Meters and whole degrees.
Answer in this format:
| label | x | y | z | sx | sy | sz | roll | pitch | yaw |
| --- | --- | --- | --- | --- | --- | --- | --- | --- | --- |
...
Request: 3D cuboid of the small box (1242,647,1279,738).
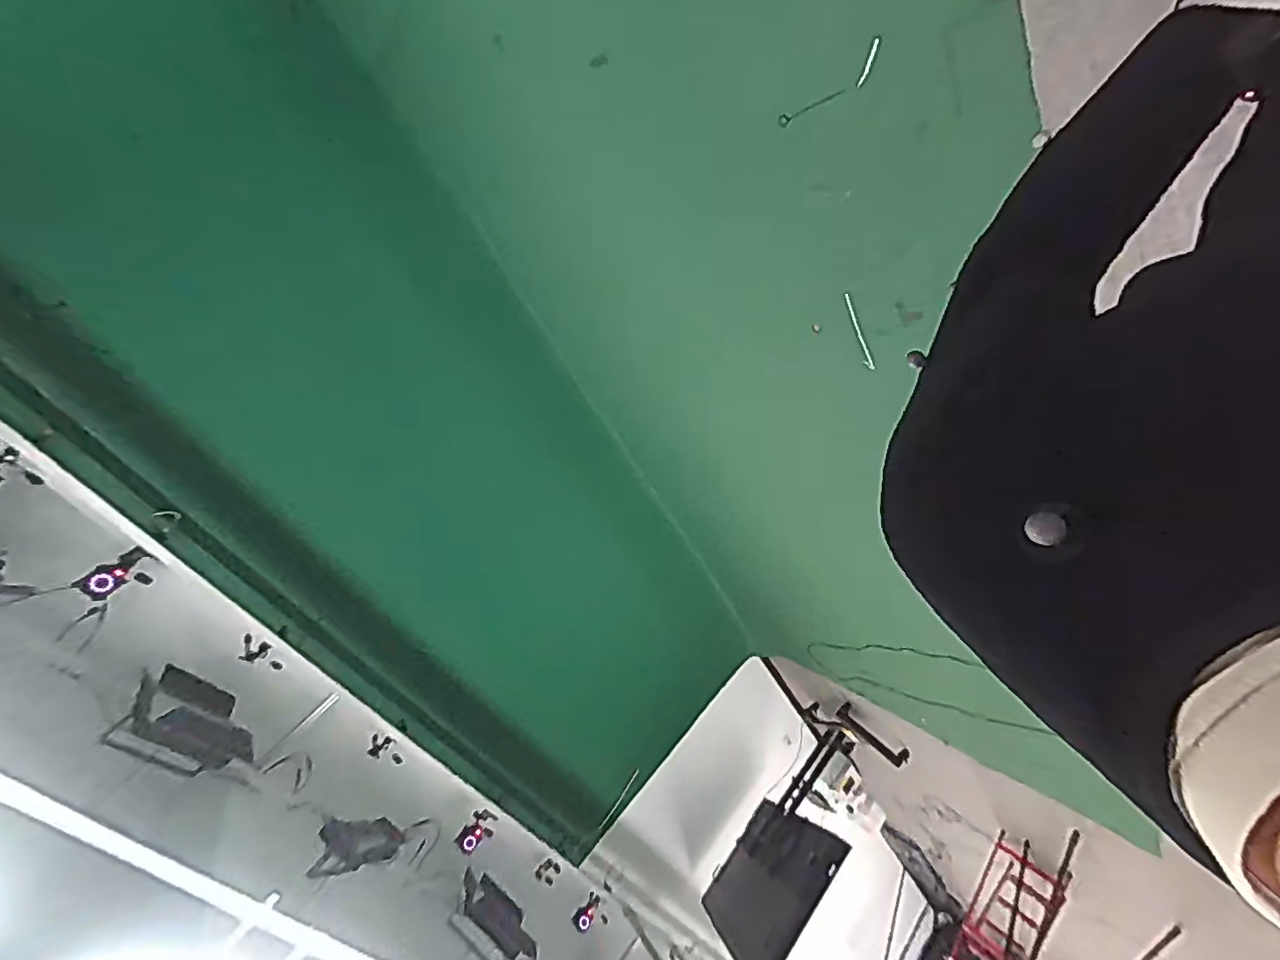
| label | x | y | z | sx | sy | sz | roll | pitch | yaw |
| --- | --- | --- | --- | --- | --- | --- | --- | --- | --- |
| small box | 1.763 | 0.588 | 1.451 | 0.168 | 0.176 | 0.179 | 14 | 141 | 56 |
